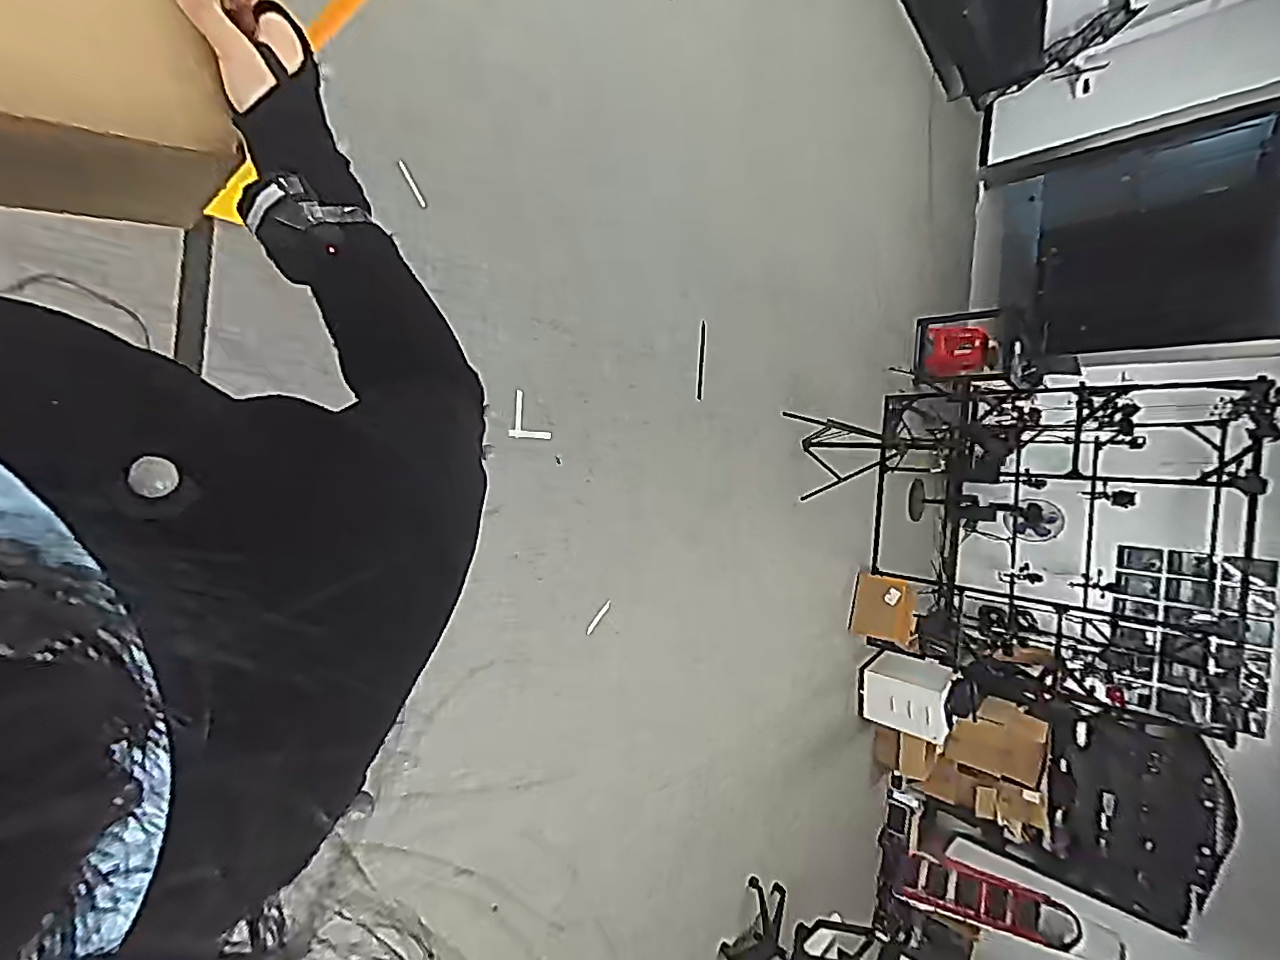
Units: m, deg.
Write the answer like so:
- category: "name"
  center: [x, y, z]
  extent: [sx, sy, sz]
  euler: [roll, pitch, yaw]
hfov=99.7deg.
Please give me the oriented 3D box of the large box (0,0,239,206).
- category: "large box"
  center: [-0.560, -0.398, 0.355]
  extent: [0.408, 0.320, 0.320]
  euler: [-14, 108, -43]
